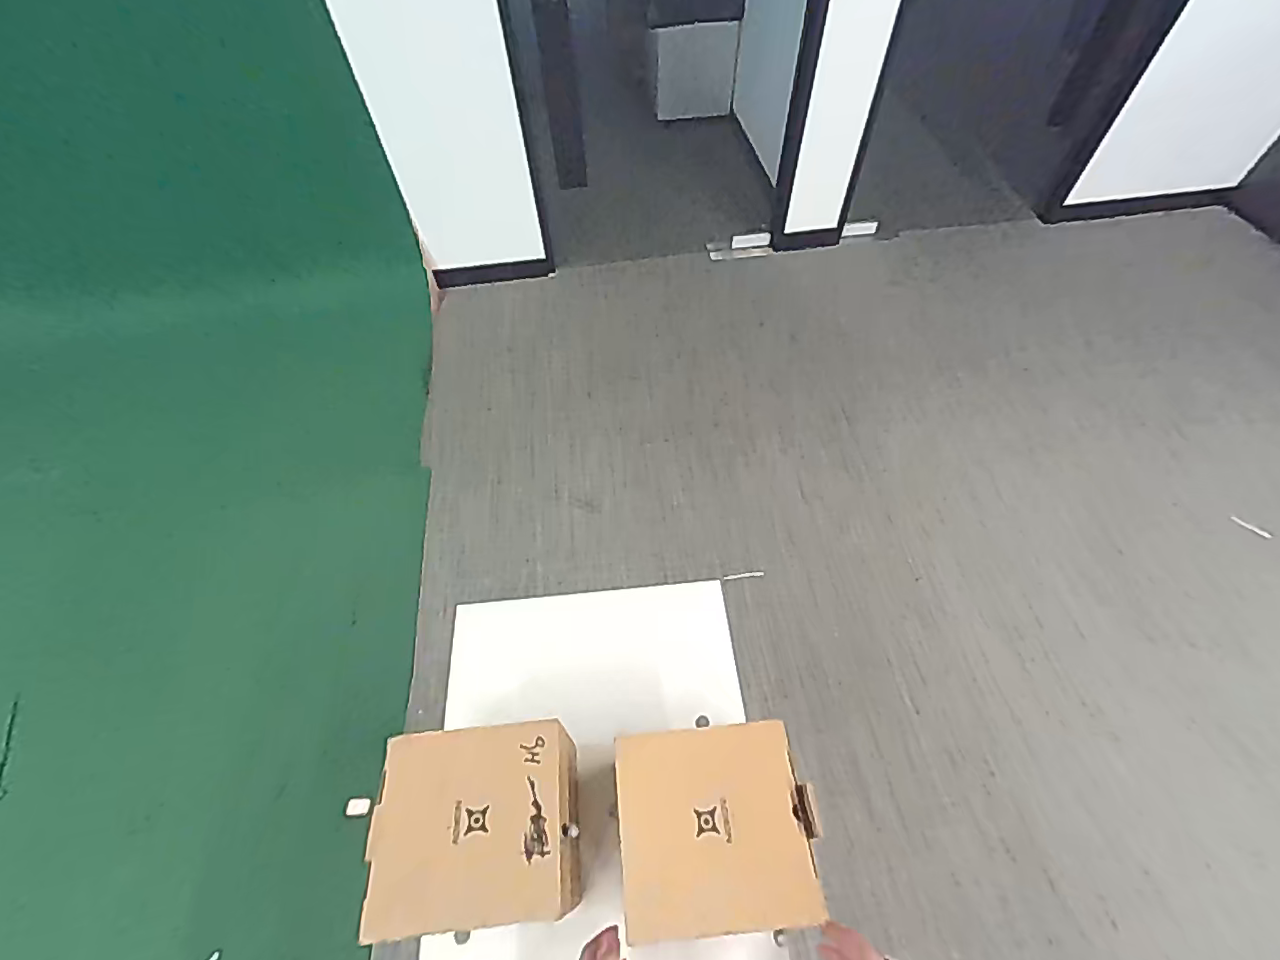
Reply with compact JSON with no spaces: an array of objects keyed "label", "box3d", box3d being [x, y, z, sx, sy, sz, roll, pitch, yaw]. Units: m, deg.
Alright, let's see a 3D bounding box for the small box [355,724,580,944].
[{"label":"small box","box3d":[-0.162,0.370,0.574,0.179,0.176,0.168,-5,55,-2]}]
